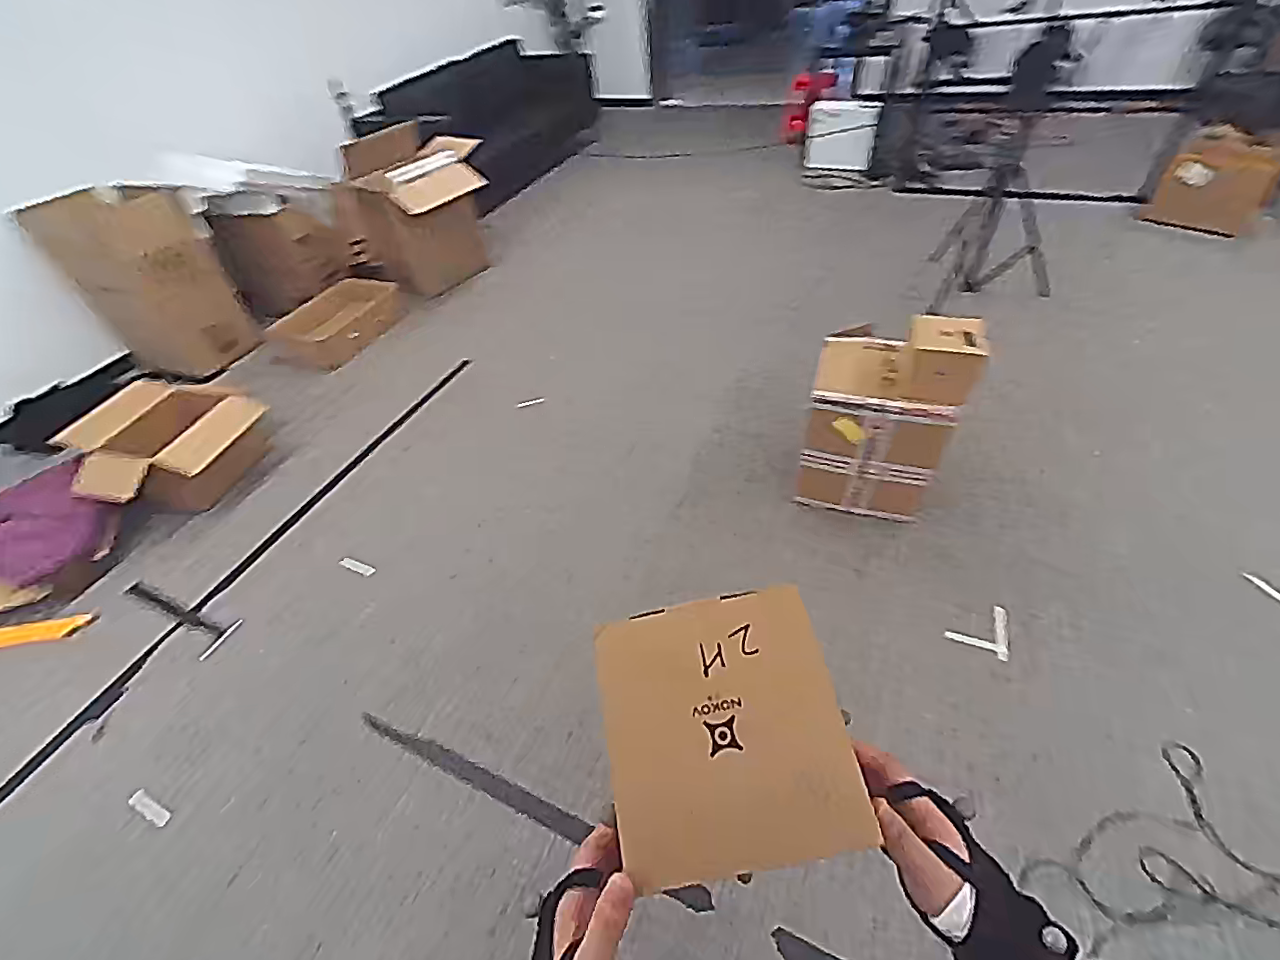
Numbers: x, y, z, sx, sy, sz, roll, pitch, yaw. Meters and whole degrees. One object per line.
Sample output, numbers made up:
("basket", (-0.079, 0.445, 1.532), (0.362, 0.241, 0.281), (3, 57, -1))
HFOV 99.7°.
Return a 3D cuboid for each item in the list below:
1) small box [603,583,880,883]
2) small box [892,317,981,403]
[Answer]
("small box", (0.071, 0.208, 0.454), (0.168, 0.176, 0.179), (-11, 59, 1))
("small box", (0.822, -0.334, 1.515), (0.179, 0.176, 0.168), (9, 51, 15))
